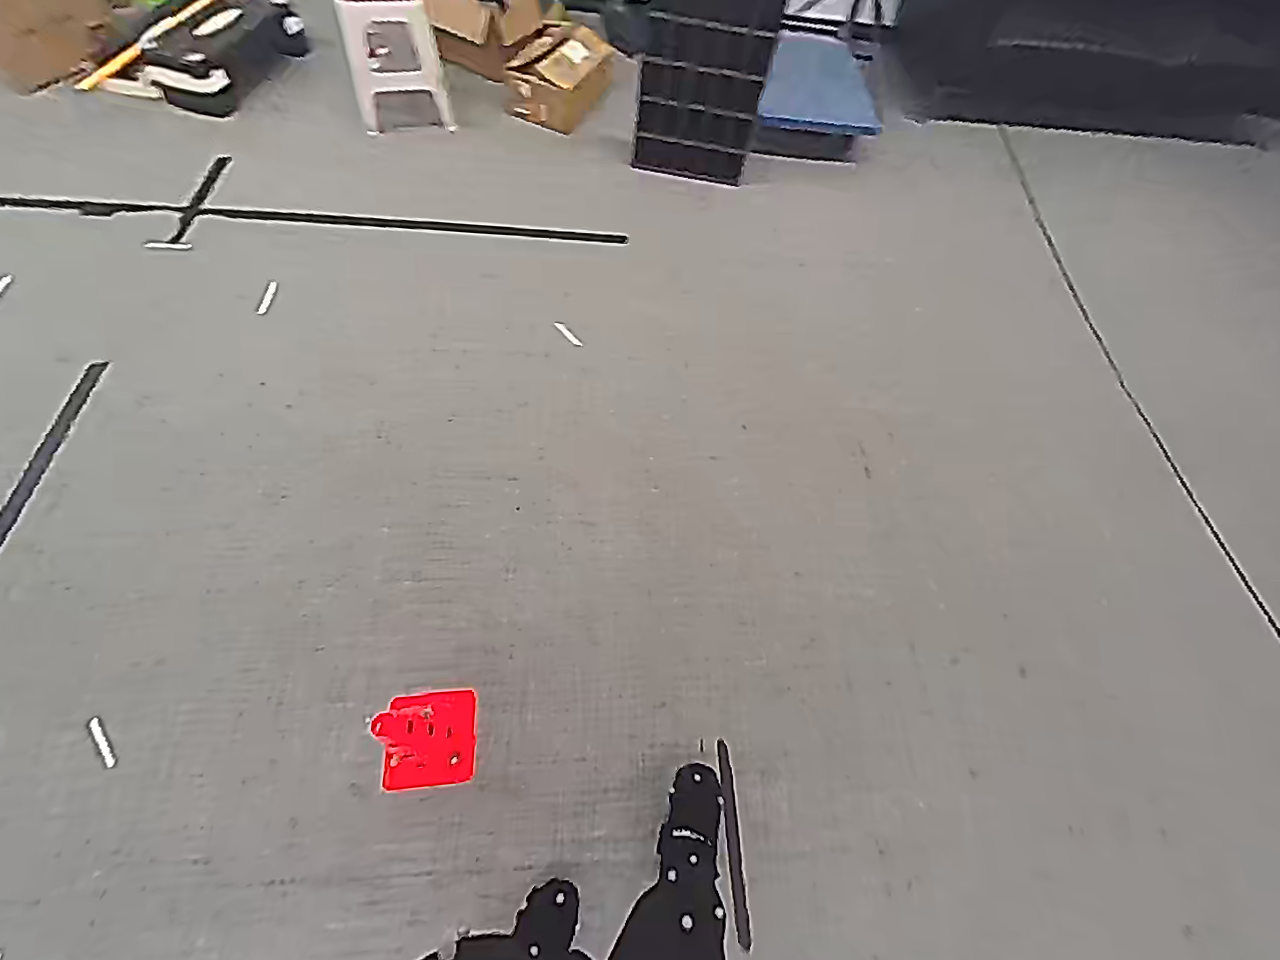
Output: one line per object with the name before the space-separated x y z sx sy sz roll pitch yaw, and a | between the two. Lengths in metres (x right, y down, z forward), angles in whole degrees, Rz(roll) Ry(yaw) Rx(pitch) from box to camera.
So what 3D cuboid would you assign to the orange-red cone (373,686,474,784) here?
orange-red cone | -0.466 0.494 1.089 0.198 0.360 0.199 -1 60 -8
